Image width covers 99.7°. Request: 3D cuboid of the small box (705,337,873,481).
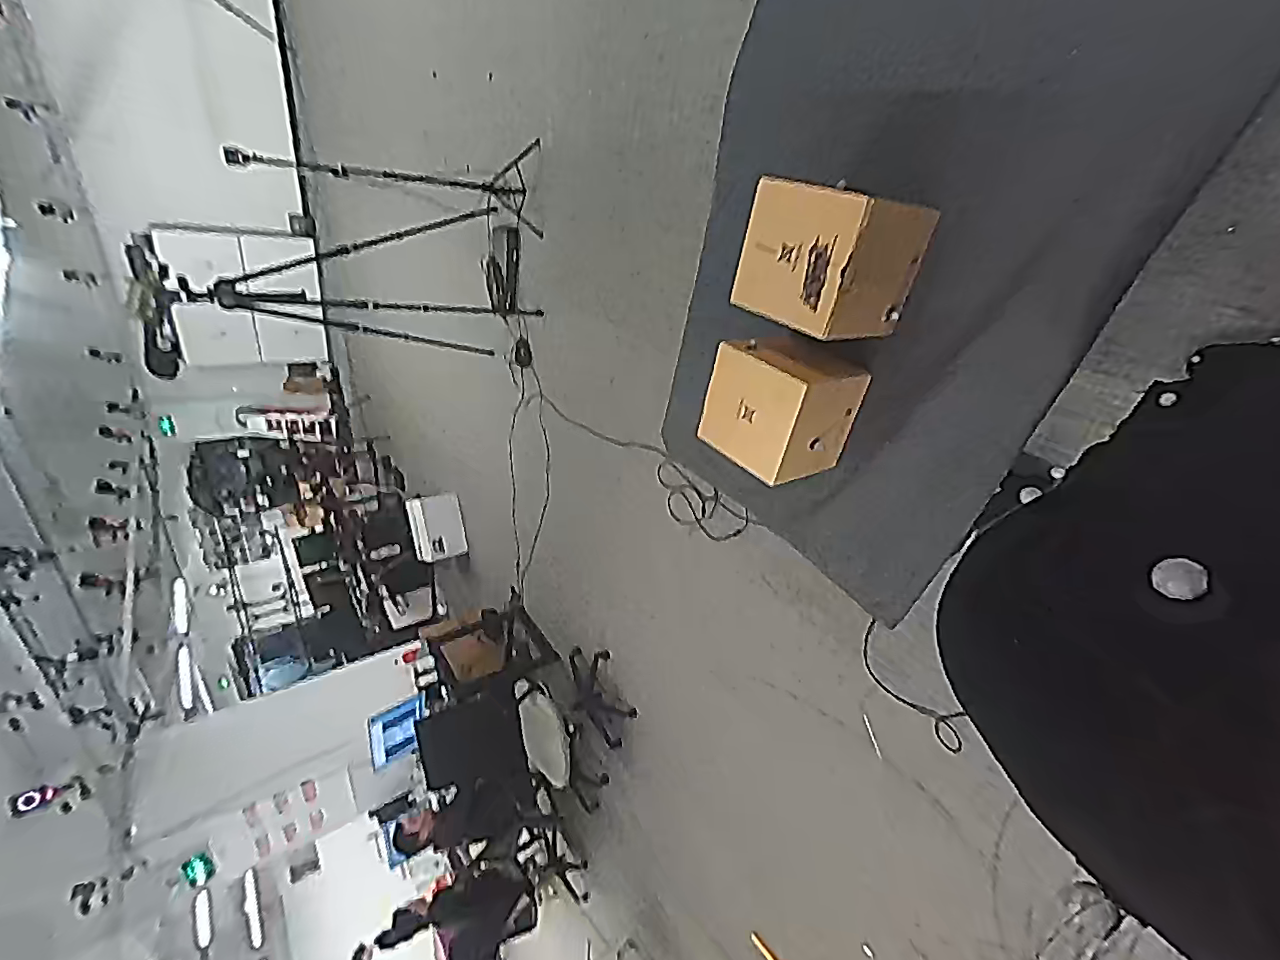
[{"bbox_3d":[0.236,-0.124,0.865,0.179,0.176,0.168,40,132,41],"label":"small box"}]
